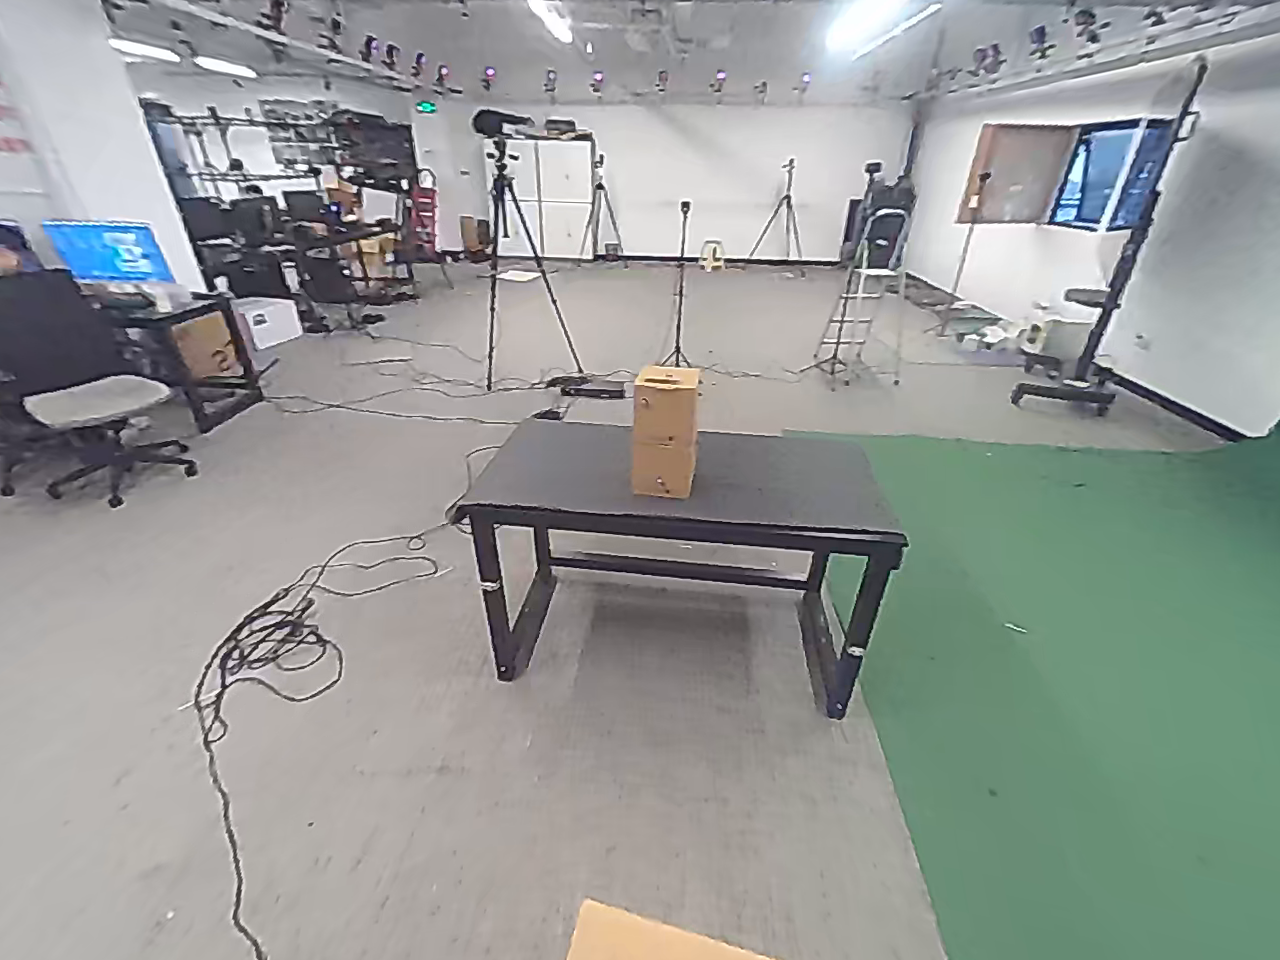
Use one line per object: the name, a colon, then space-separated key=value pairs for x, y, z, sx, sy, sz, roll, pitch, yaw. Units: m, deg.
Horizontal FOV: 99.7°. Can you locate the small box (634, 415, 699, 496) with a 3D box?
small box: x=0.077 y=-0.074 z=1.591 sx=0.168 sy=0.176 sz=0.179 roll=6 pitch=30 yaw=9
